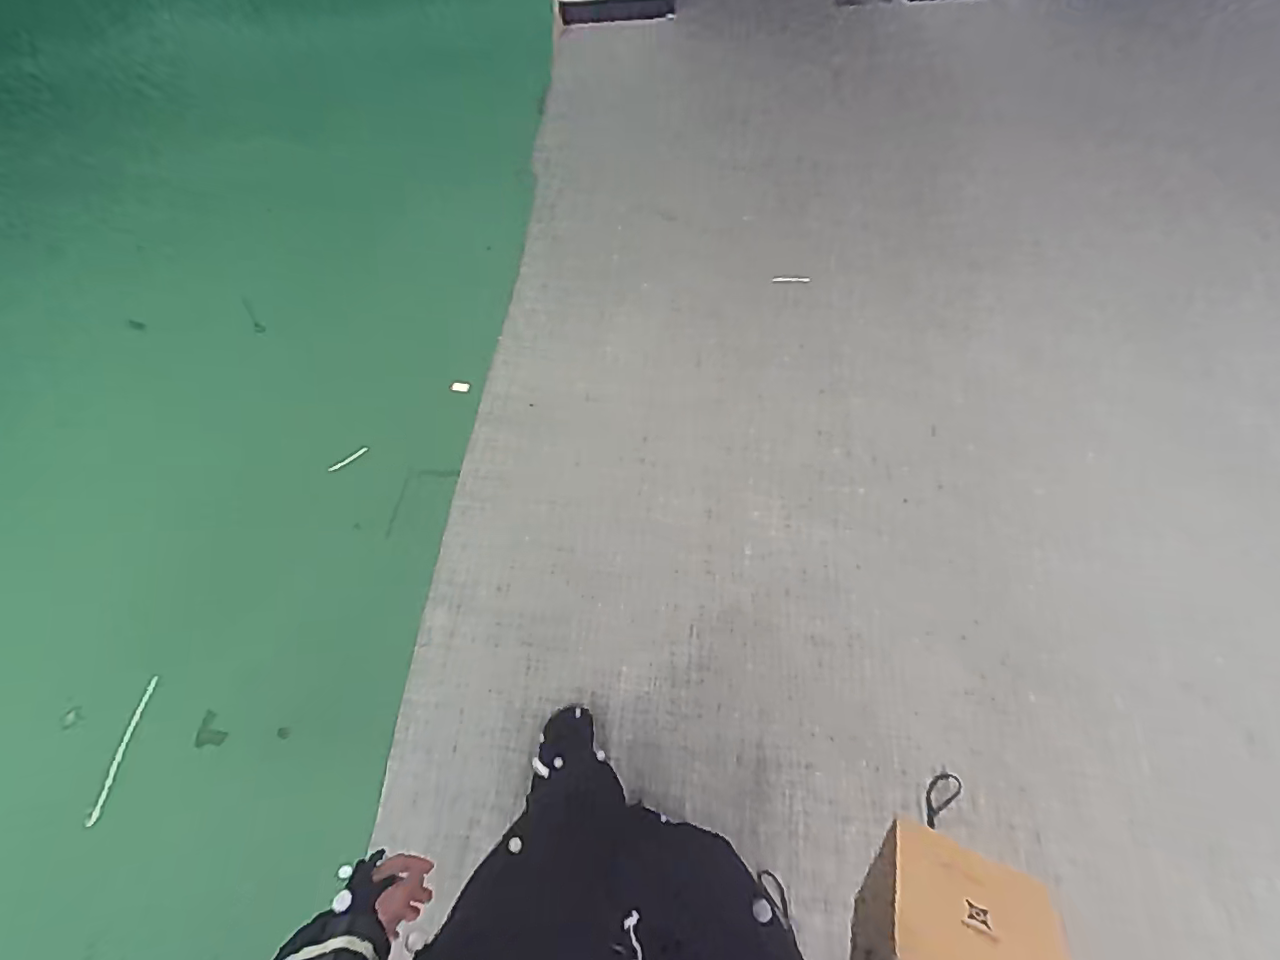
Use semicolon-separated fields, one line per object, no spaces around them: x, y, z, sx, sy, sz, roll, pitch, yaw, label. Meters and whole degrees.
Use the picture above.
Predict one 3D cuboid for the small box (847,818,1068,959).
0.328;0.524;0.575;0.168;0.179;0.176;20;112;19;small box
